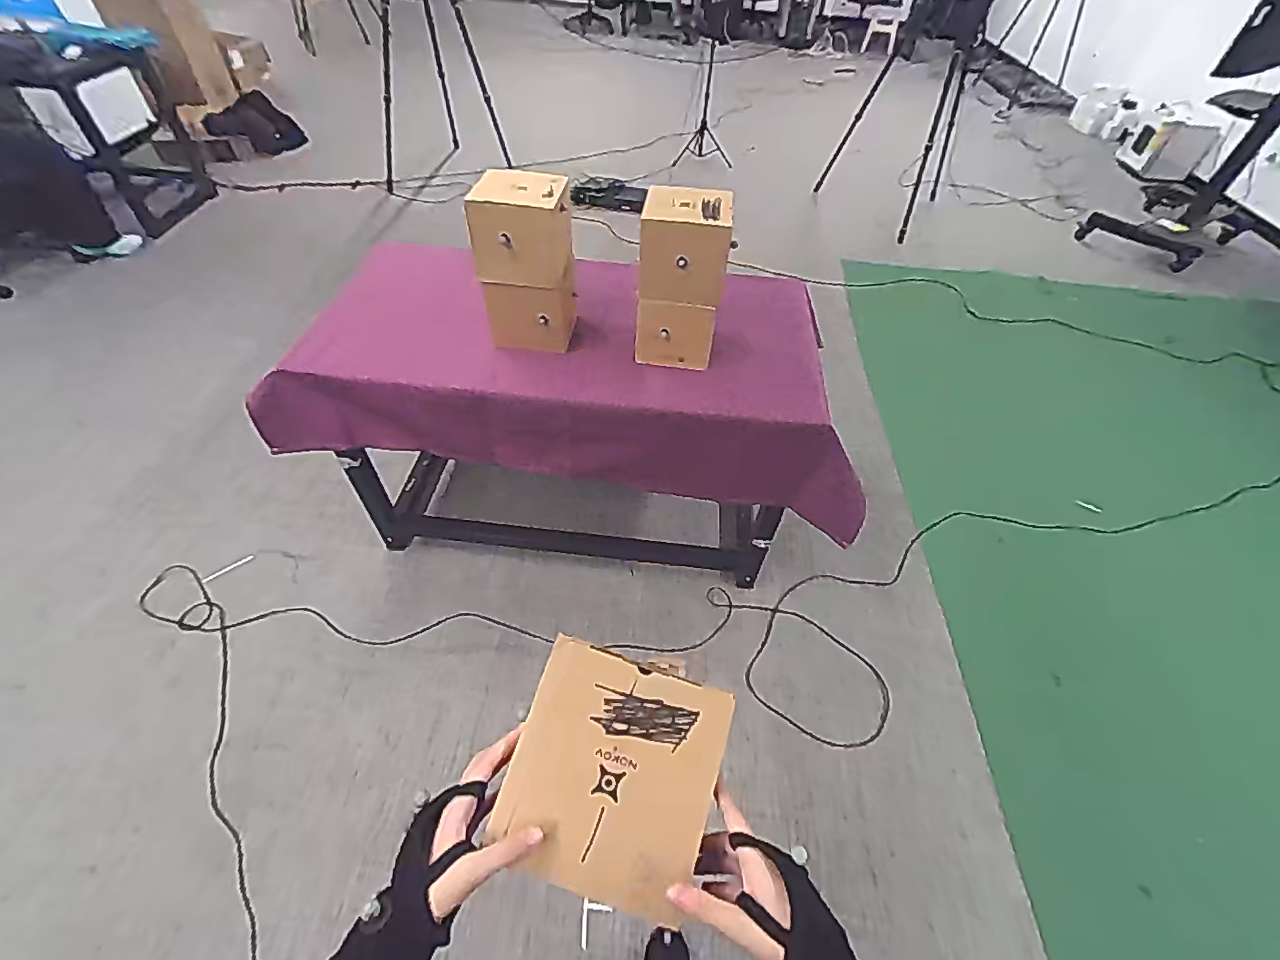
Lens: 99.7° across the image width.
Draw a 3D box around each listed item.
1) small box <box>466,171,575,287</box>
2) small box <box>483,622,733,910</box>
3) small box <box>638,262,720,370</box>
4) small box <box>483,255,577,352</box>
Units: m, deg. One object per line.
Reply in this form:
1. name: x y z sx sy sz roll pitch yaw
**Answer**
1. small box: -0.240 -0.524 1.134 0.179 0.176 0.168 7 49 2
2. small box: -0.027 0.255 0.521 0.168 0.176 0.179 19 70 3
3. small box: 0.087 -0.375 1.247 0.168 0.176 0.179 8 48 3
4. small box: -0.245 -0.417 1.258 0.179 0.176 0.168 7 48 2
